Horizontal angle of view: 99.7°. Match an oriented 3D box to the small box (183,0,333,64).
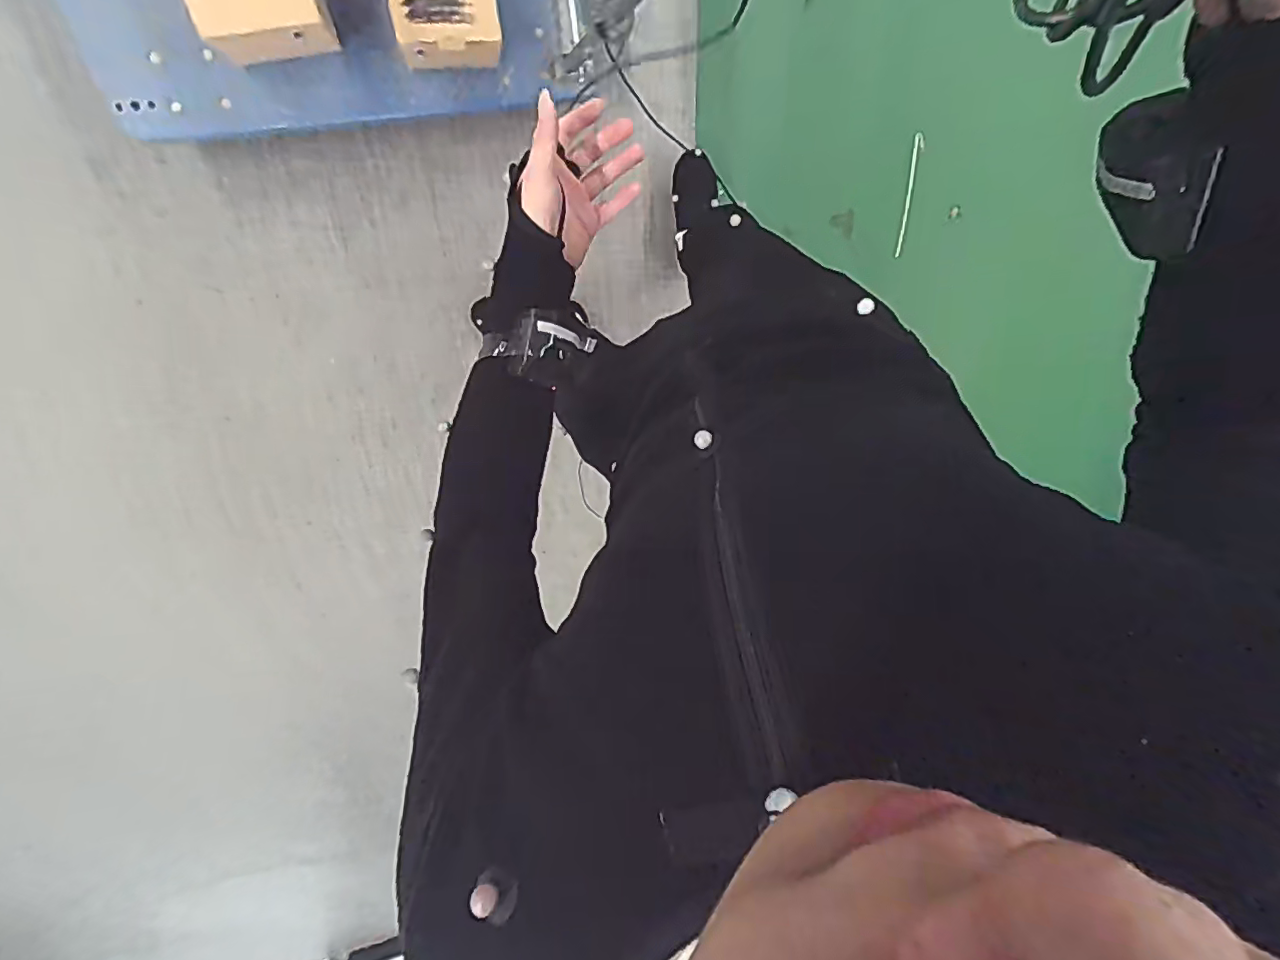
[{"bbox_3d":[-0.606,-0.779,0.845,0.179,0.176,0.168,-17,119,-9],"label":"small box"}]
